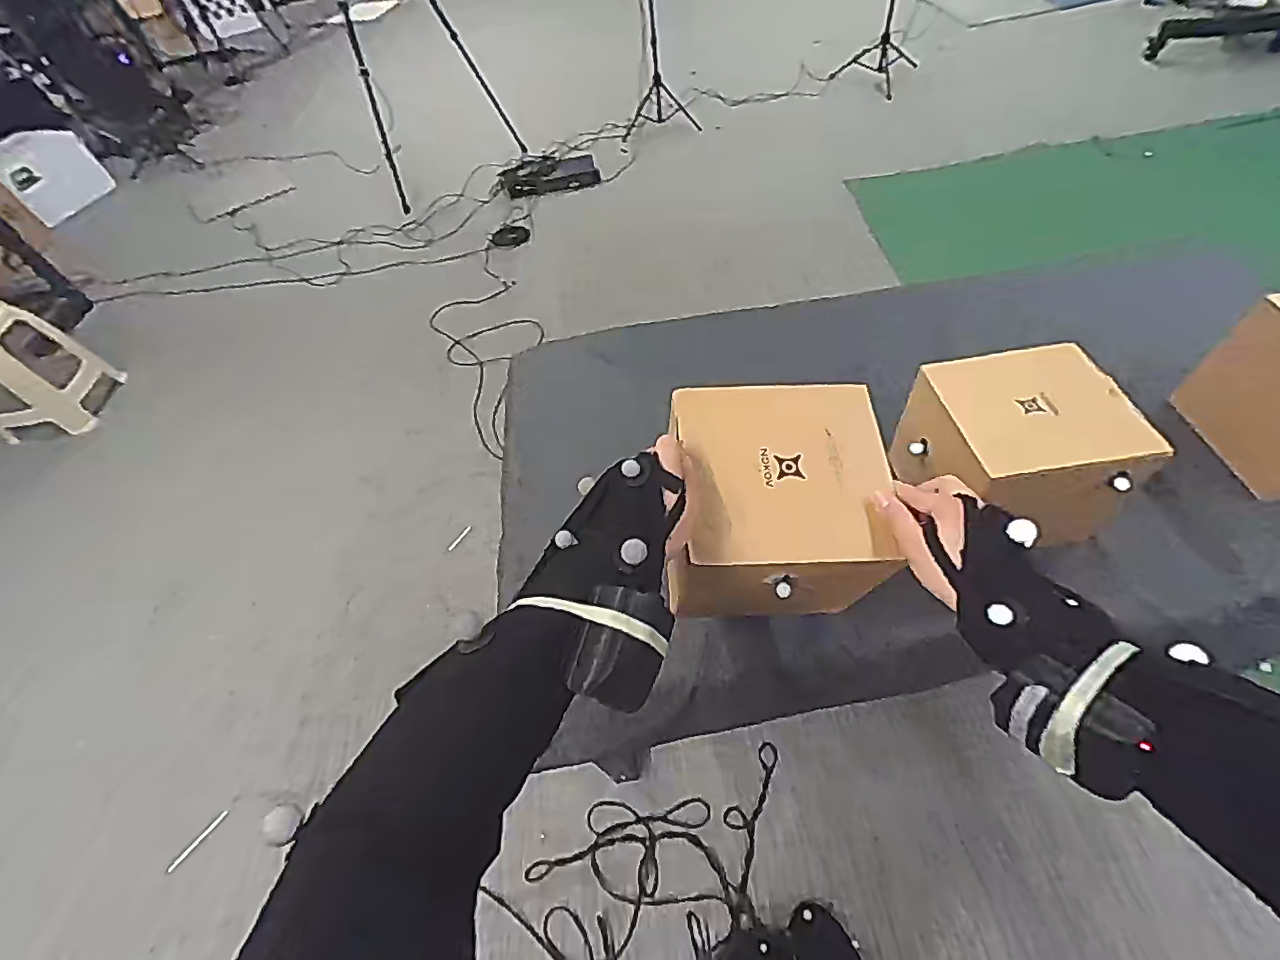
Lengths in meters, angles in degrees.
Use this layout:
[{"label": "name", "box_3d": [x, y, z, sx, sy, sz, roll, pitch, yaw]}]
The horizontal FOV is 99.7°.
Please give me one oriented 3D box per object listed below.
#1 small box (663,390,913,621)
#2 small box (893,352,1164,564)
[{"label": "small box", "box_3d": [0.114, 0.032, 0.506, 0.179, 0.176, 0.168, -1, 63, -3]}, {"label": "small box", "box_3d": [0.414, -0.019, 0.624, 0.179, 0.176, 0.168, -9, 52, 1]}]
